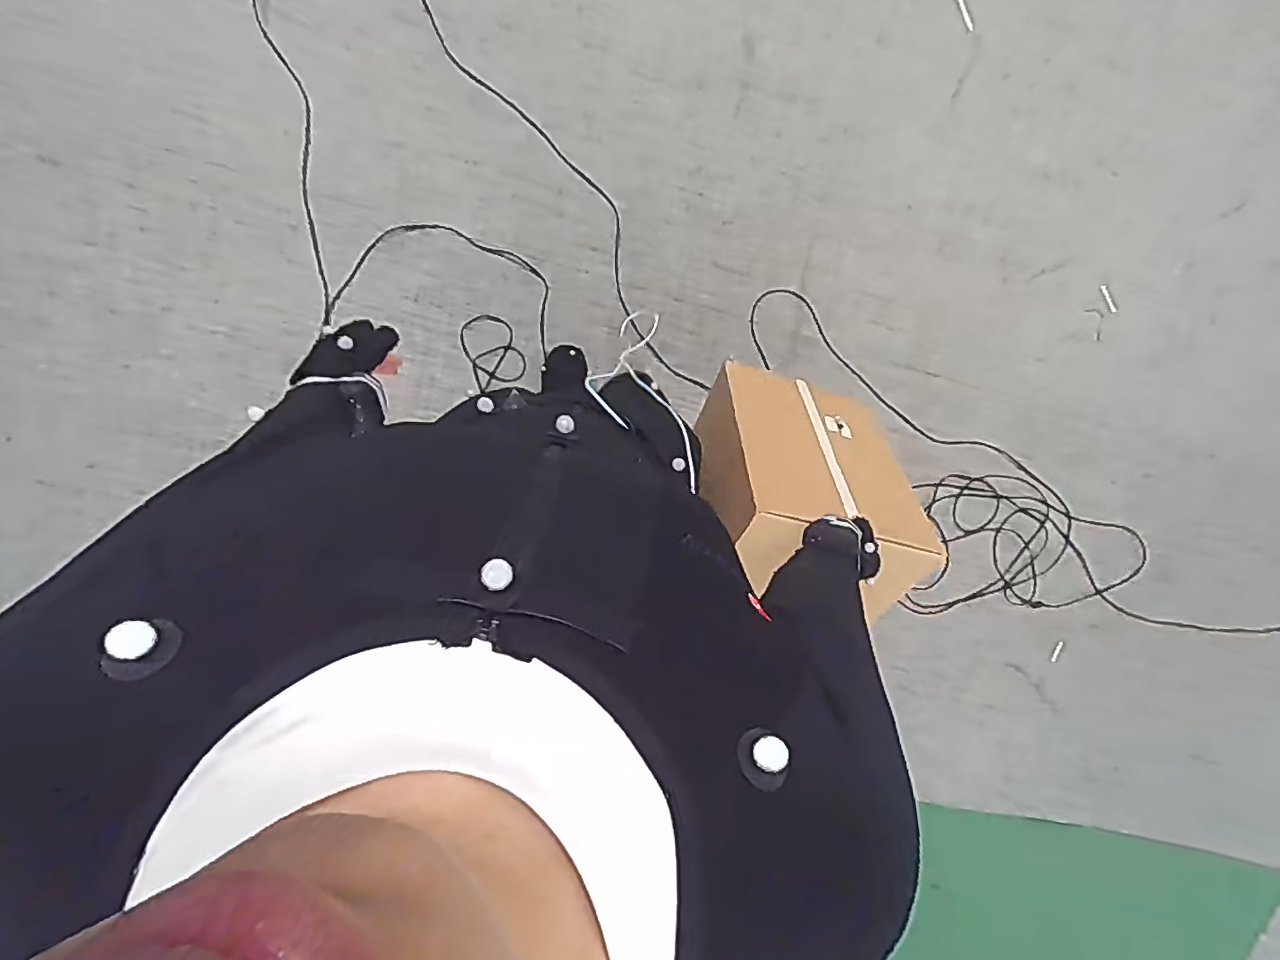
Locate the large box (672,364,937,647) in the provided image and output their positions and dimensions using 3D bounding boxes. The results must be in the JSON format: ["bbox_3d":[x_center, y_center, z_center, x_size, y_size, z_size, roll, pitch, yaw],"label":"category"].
[{"bbox_3d":[0.260,0.048,1.023,0.320,0.408,0.320,14,131,-13],"label":"large box"}]
